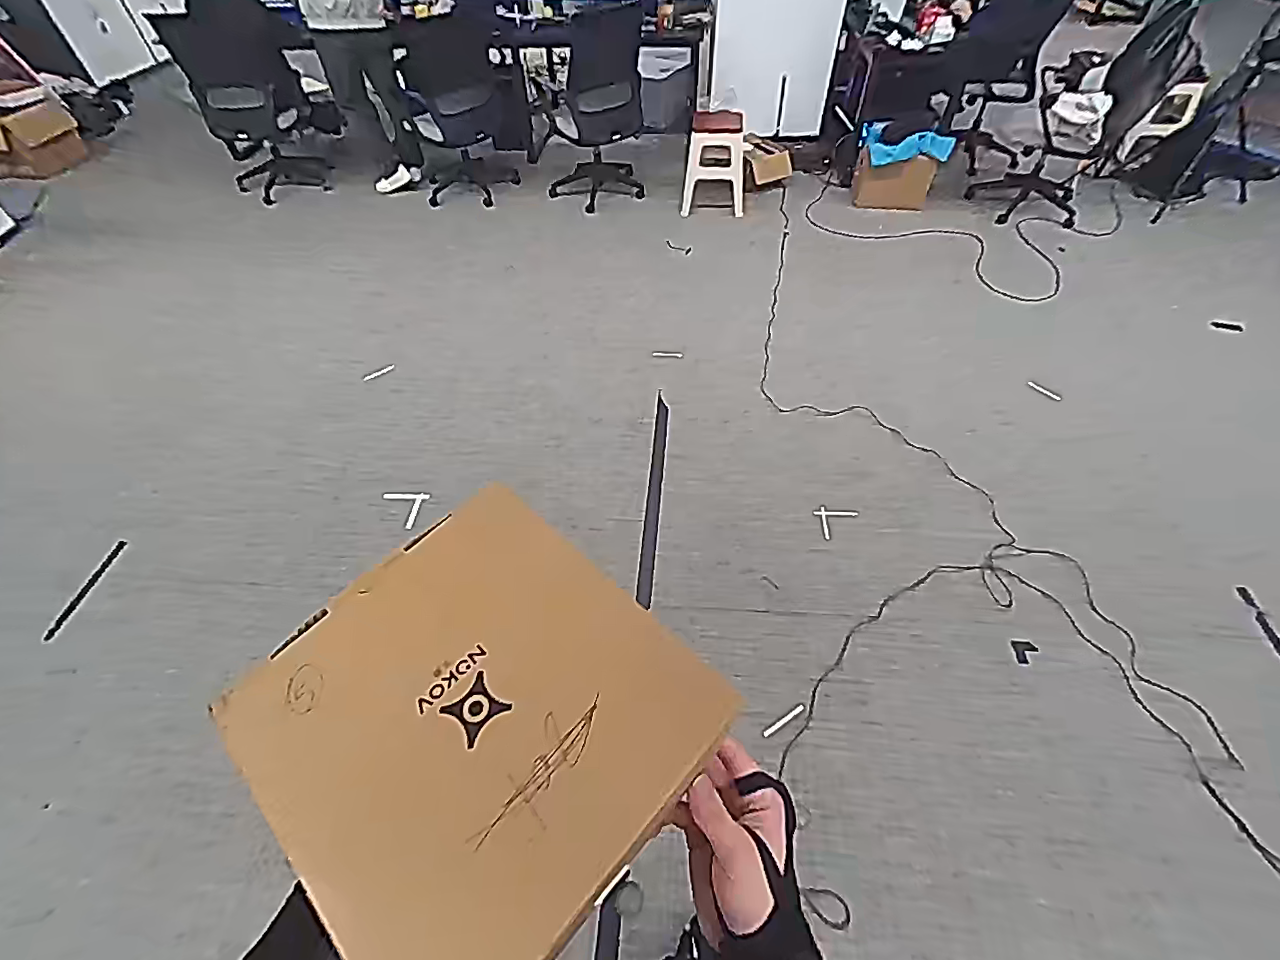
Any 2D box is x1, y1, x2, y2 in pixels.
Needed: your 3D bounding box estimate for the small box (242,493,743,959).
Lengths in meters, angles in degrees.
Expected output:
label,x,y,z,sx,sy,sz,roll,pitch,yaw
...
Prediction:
label,x,y,z,sx,sy,sz,roll,pitch,yaw
small box,-0.066,0.147,0.314,0.179,0.176,0.168,36,65,23
